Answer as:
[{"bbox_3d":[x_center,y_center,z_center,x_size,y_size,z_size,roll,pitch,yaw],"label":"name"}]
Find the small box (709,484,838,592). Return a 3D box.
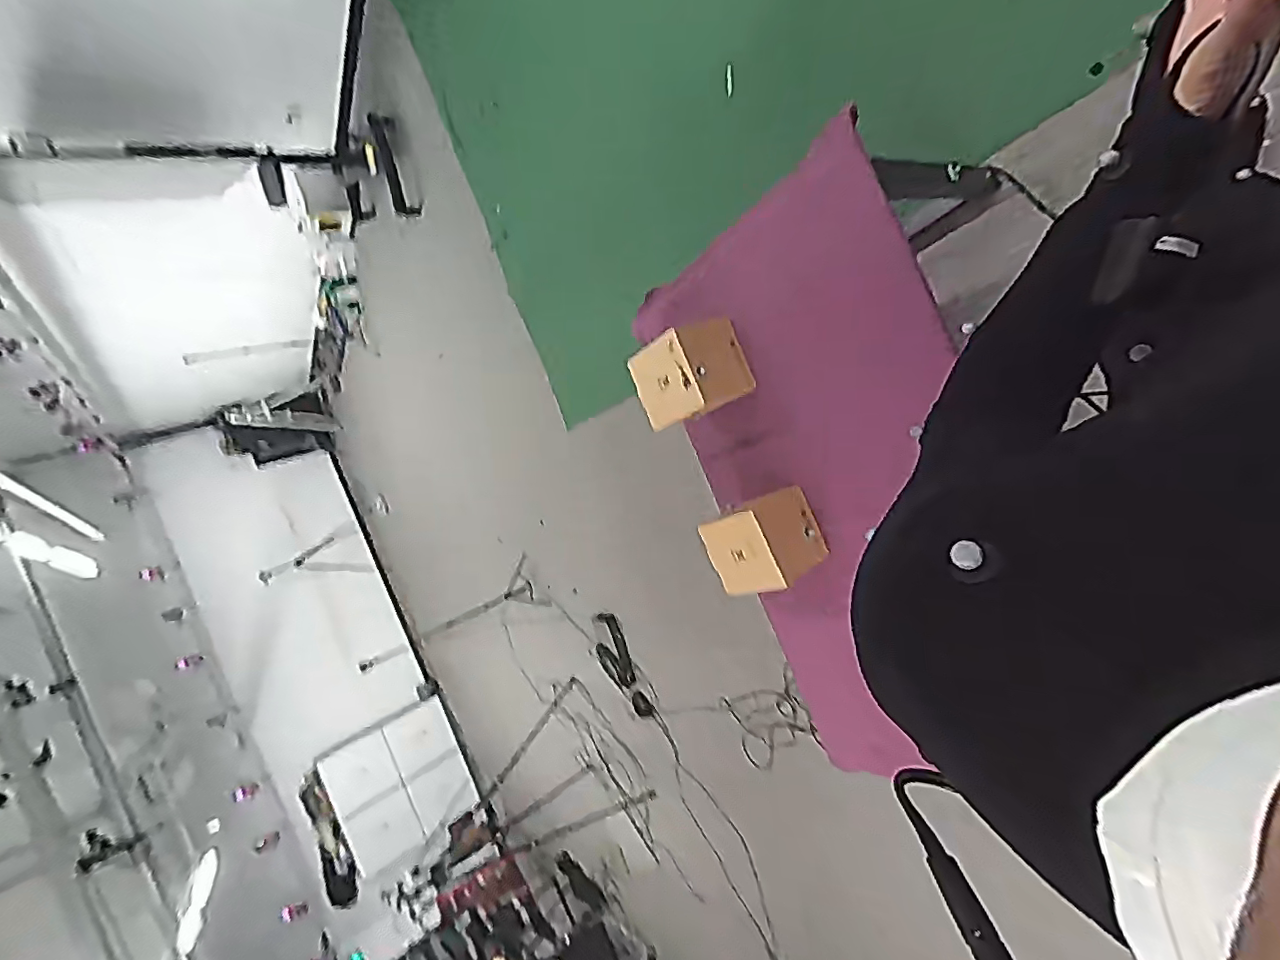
[{"bbox_3d":[0.287,0.126,1.166,0.179,0.176,0.168,-27,87,54],"label":"small box"}]

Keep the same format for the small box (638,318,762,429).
[{"bbox_3d":[0.130,-0.230,1.173,0.179,0.176,0.168,-23,91,55],"label":"small box"}]
